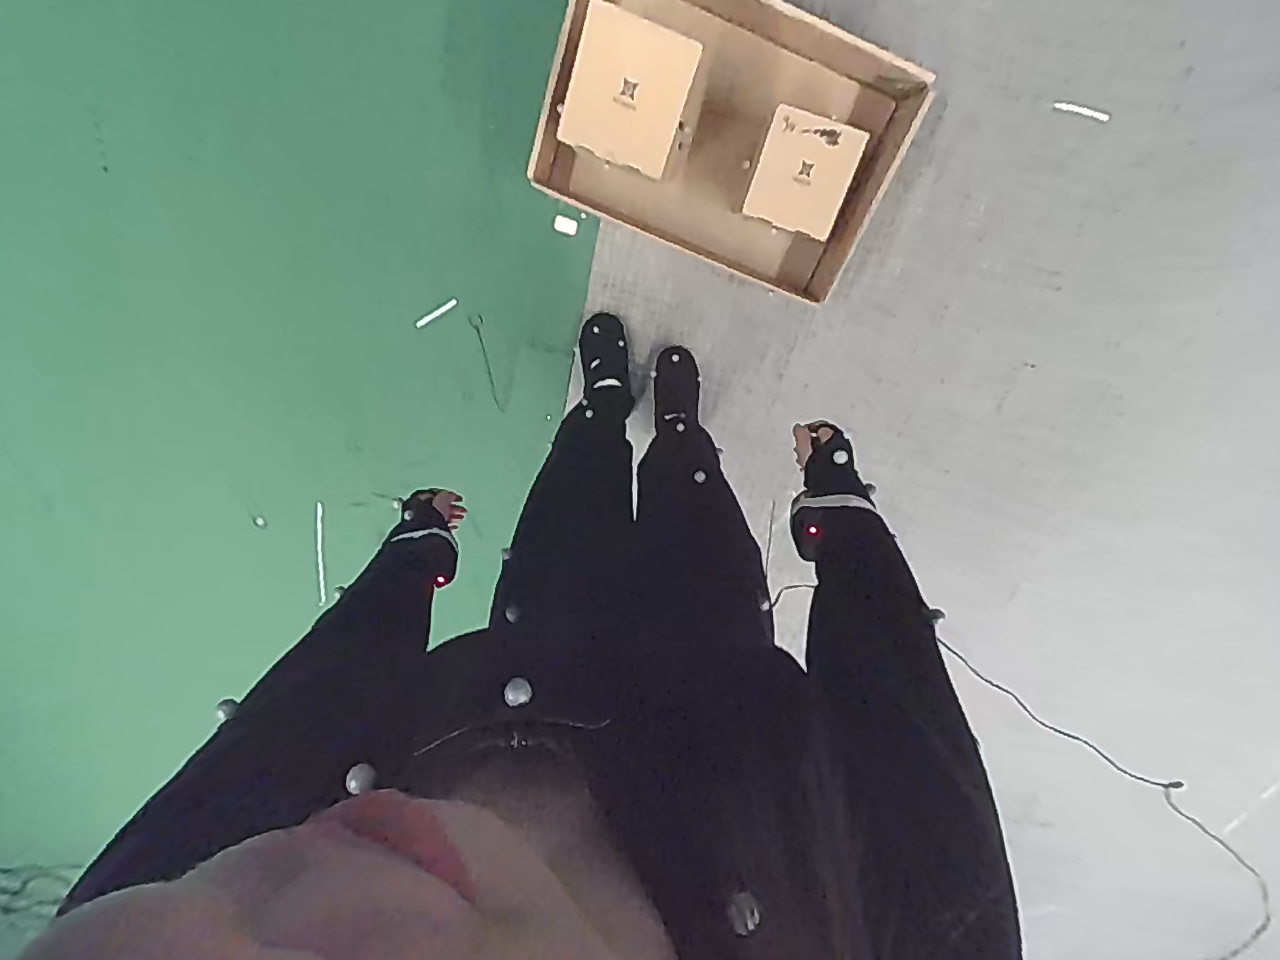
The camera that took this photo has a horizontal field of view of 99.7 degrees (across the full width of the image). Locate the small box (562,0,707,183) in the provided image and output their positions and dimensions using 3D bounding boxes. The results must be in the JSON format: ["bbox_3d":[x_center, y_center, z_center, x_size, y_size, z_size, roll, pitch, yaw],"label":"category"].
[{"bbox_3d":[-0.009,-0.586,0.841,0.168,0.176,0.179,19,117,-6],"label":"small box"}]
